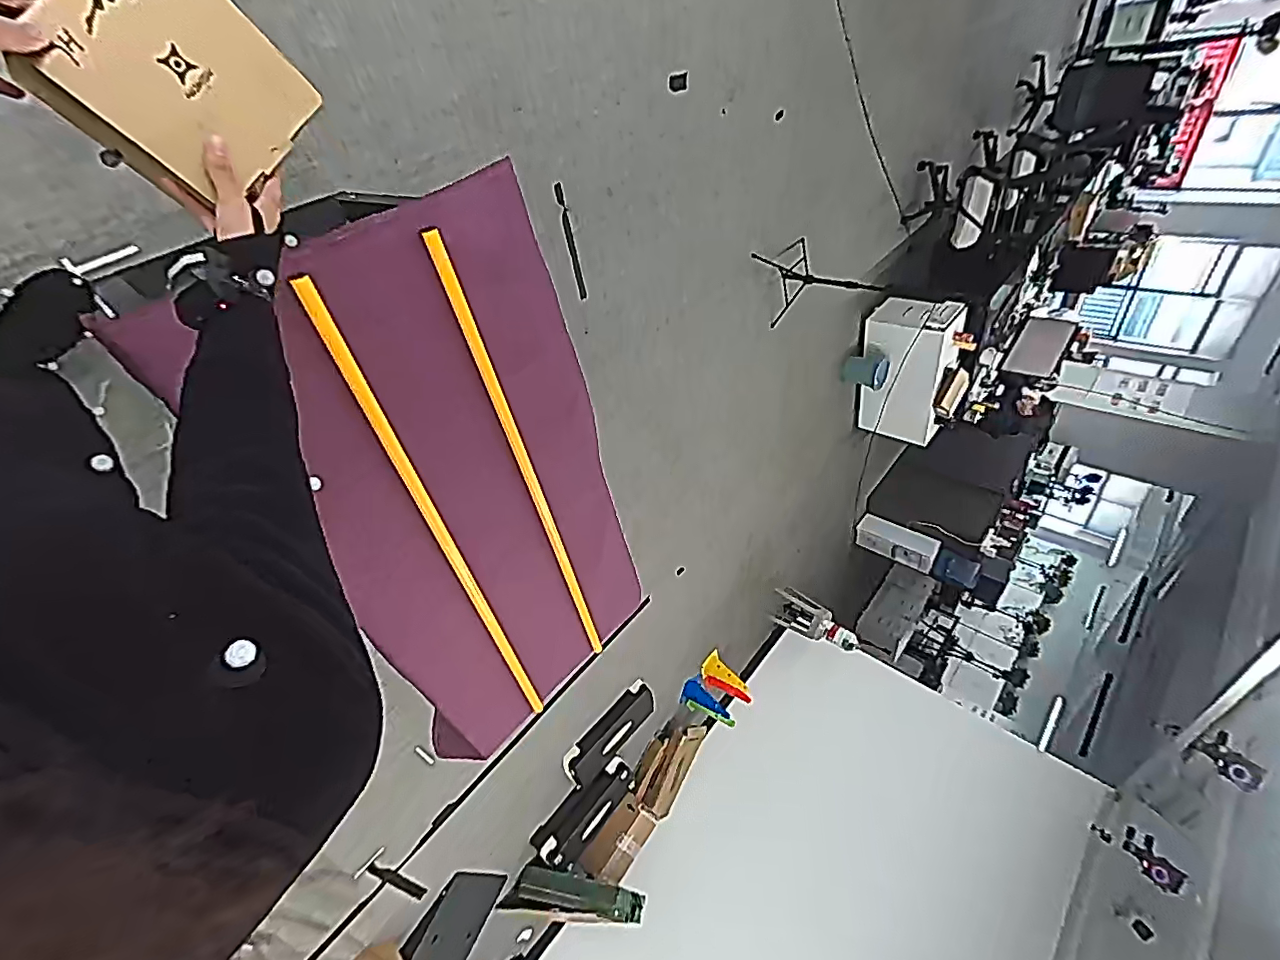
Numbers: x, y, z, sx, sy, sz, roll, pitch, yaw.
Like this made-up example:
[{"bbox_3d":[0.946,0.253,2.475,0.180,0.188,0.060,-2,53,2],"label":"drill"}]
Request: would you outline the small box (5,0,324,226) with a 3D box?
[{"bbox_3d":[-0.481,-0.393,0.558,0.168,0.176,0.179,-59,140,-10],"label":"small box"}]
